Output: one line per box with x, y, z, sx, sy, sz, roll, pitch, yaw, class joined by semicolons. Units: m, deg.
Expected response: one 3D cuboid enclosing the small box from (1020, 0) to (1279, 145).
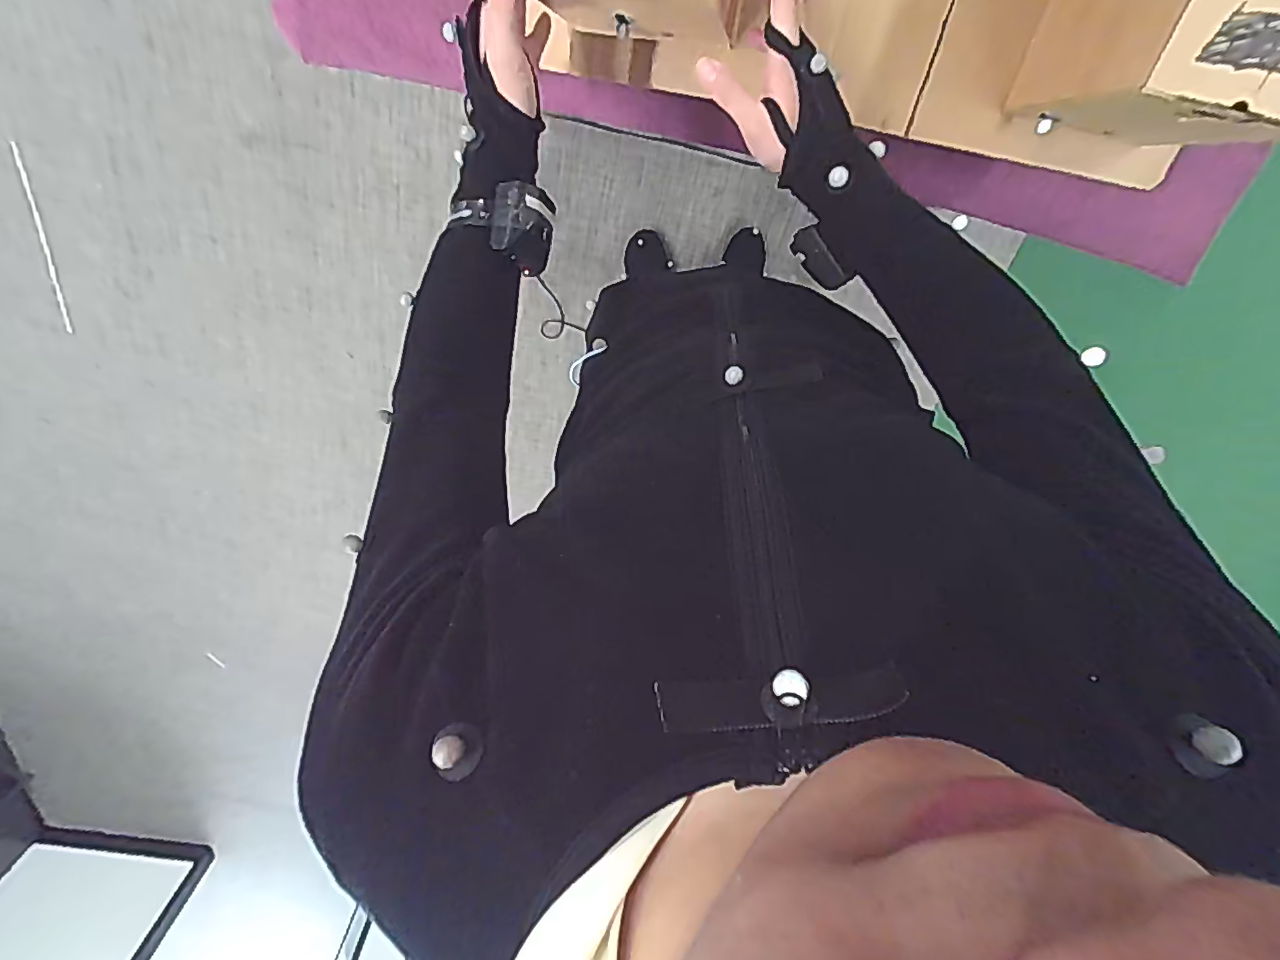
0.454;-0.383;0.430;0.168;0.176;0.179;7;118;-7;small box
